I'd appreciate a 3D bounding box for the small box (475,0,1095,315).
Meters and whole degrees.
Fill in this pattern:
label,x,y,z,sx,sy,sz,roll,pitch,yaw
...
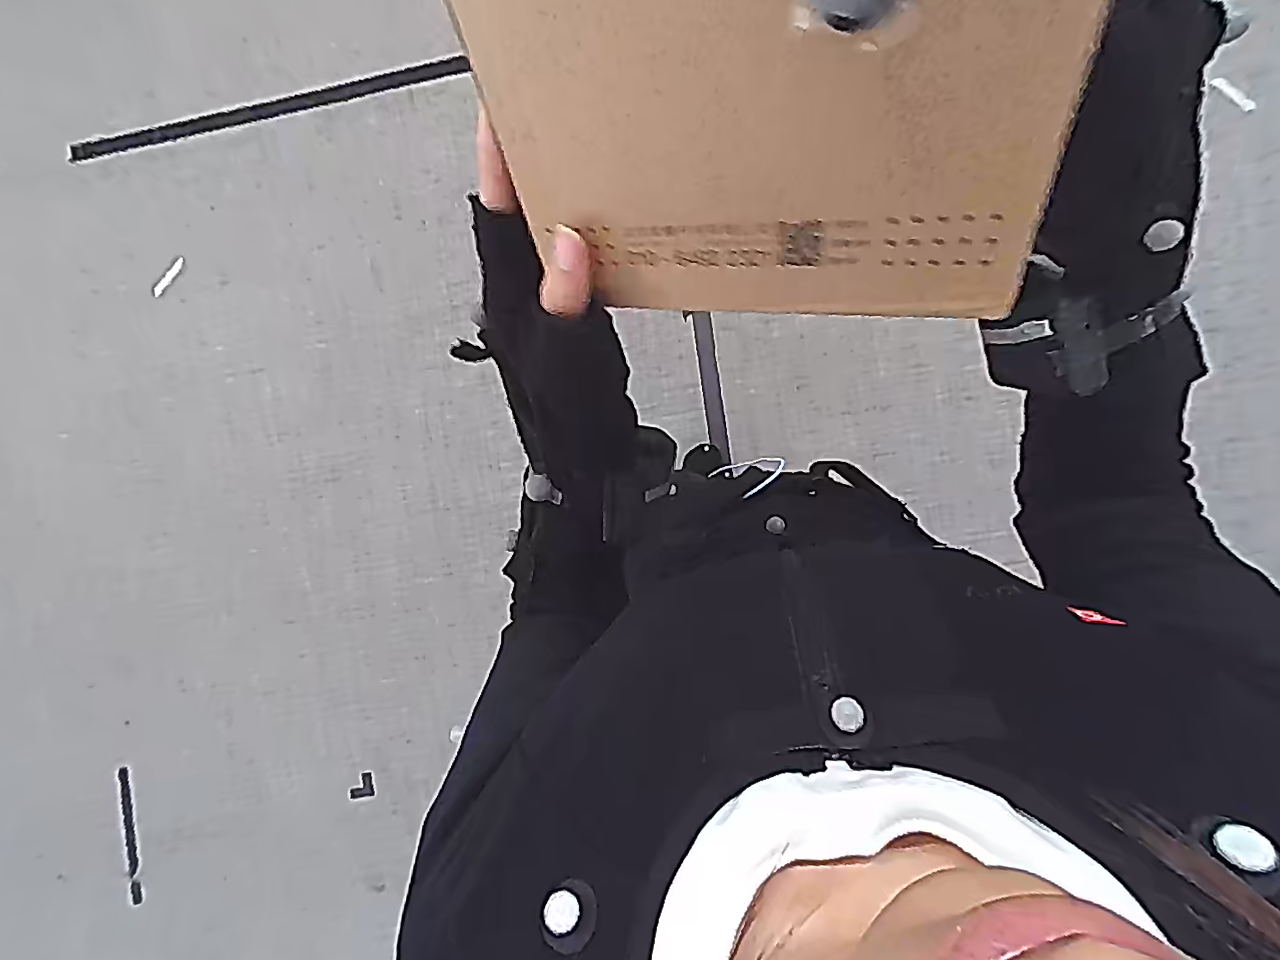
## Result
label,x,y,z,sx,sy,sz,roll,pitch,yaw
small box,0.057,-0.177,0.194,0.168,0.176,0.179,10,52,23
